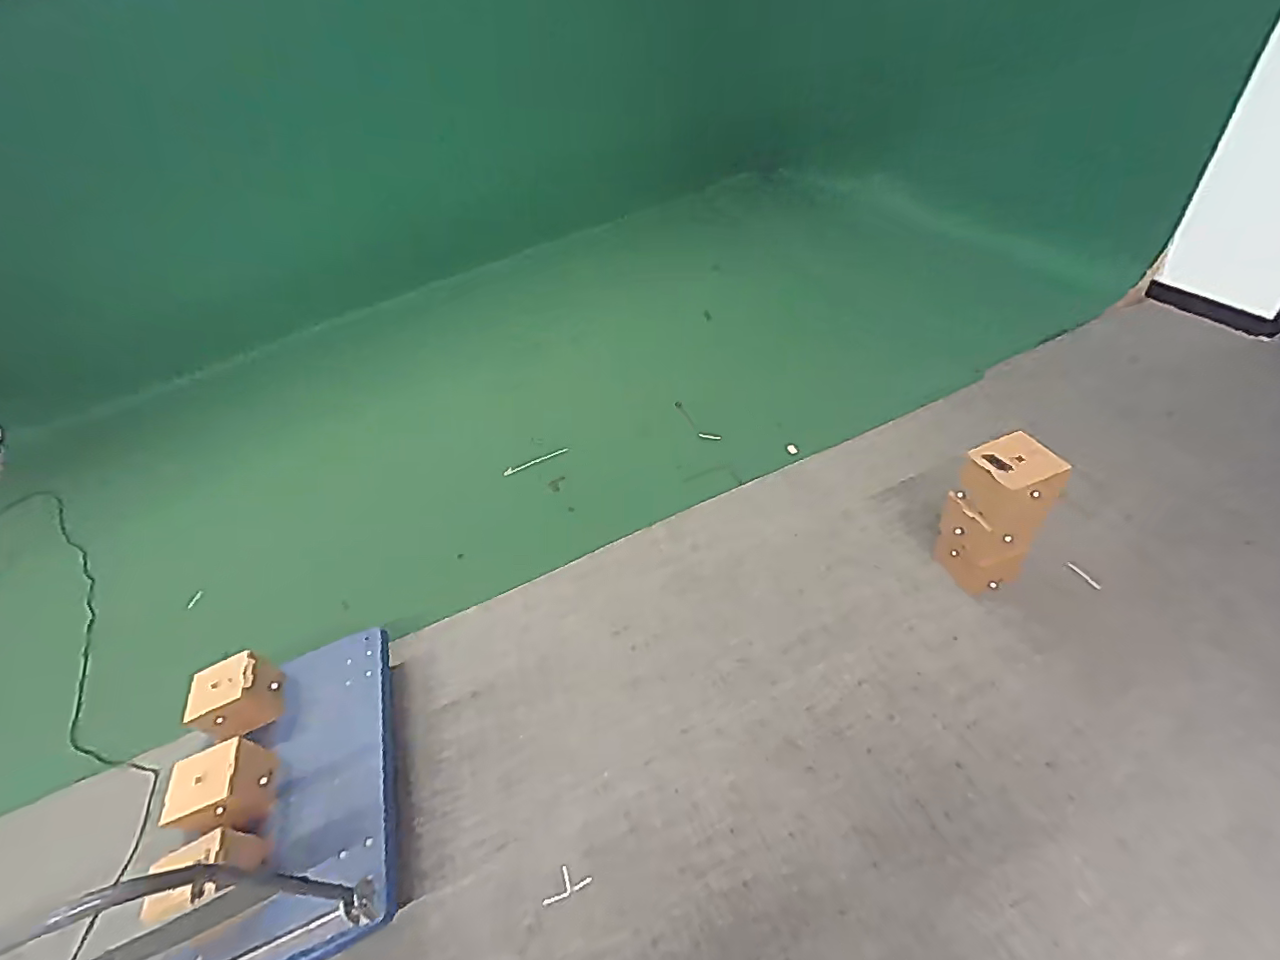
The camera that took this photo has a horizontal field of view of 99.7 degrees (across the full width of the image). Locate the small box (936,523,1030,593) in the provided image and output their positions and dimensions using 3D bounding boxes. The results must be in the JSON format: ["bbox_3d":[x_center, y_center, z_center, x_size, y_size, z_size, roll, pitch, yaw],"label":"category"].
[{"bbox_3d":[1.063,0.223,1.696,0.168,0.176,0.179,-20,45,-2],"label":"small box"}]

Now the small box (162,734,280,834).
[{"bbox_3d":[-1.141,0.840,1.488,0.179,0.176,0.168,-22,45,-7],"label":"small box"}]

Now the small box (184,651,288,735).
[{"bbox_3d":[-1.242,0.664,1.676,0.179,0.176,0.168,-18,48,-3],"label":"small box"}]

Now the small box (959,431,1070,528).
[{"bbox_3d":[0.999,0.002,1.463,0.179,0.176,0.168,-21,45,-4],"label":"small box"}]

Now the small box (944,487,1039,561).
[{"bbox_3d":[1.023,0.110,1.585,0.179,0.176,0.168,-21,45,-2],"label":"small box"}]
